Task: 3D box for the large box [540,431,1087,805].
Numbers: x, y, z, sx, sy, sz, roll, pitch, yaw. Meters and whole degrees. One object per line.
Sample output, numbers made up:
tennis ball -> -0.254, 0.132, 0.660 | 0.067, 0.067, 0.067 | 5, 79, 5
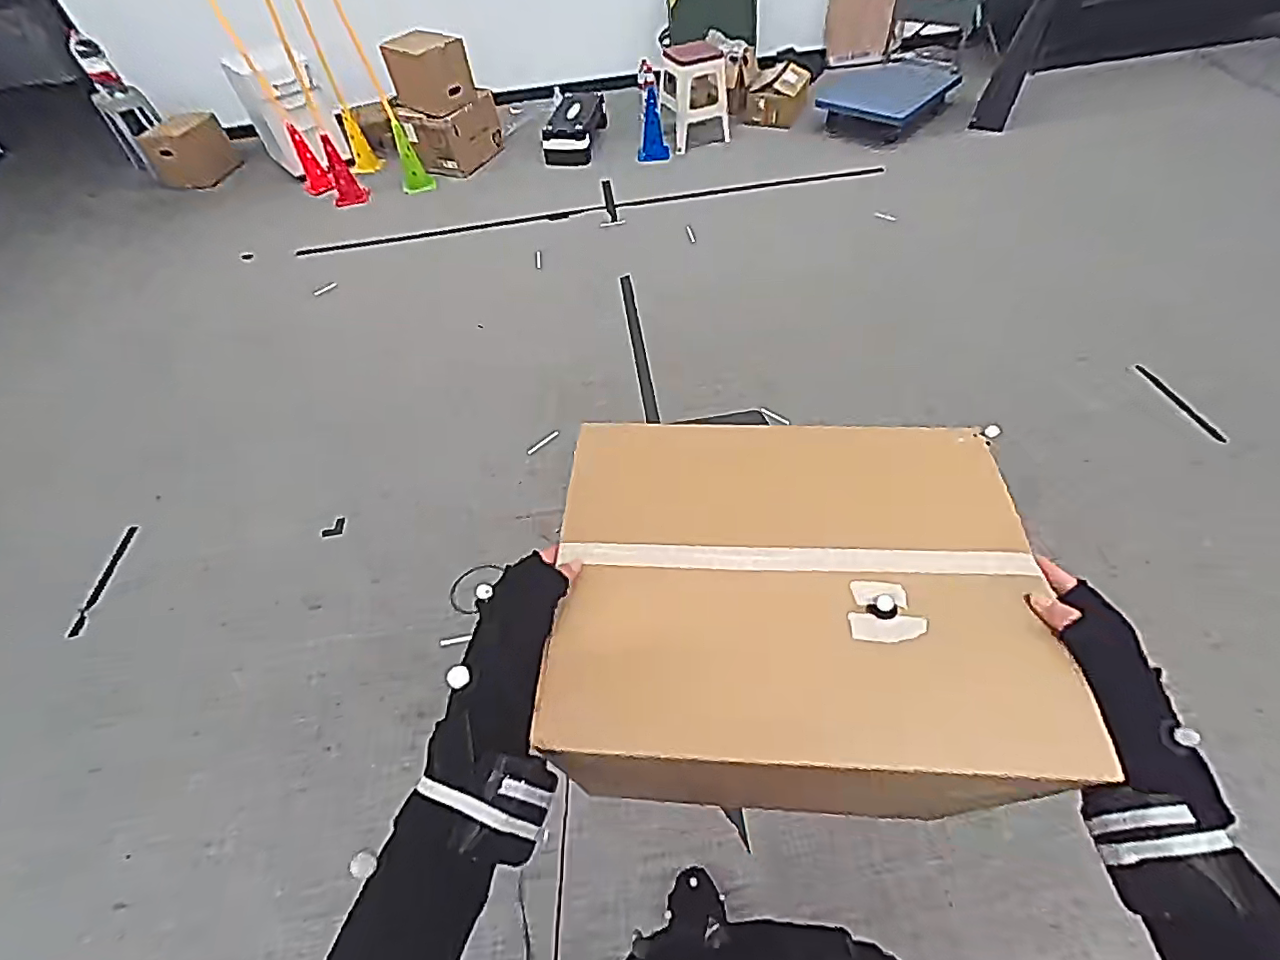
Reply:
large box -> 0.132, 0.161, 0.600 | 0.408, 0.320, 0.320 | 1, 54, 4
